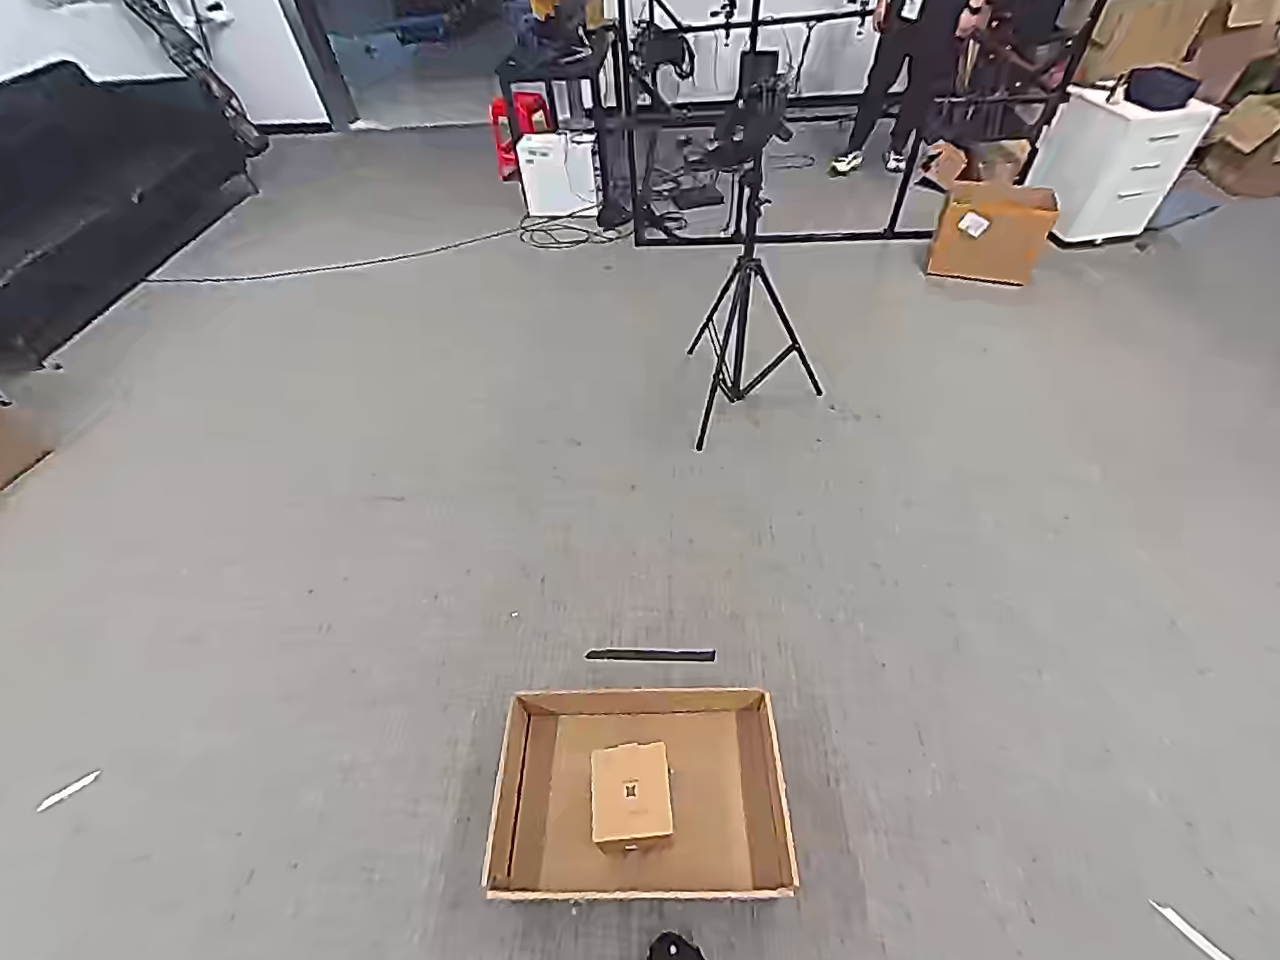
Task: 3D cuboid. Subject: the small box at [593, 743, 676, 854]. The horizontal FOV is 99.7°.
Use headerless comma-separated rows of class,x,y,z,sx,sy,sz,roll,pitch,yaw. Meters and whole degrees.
small box,-0.013,0.704,1.193,0.168,0.176,0.179,-7,49,0
